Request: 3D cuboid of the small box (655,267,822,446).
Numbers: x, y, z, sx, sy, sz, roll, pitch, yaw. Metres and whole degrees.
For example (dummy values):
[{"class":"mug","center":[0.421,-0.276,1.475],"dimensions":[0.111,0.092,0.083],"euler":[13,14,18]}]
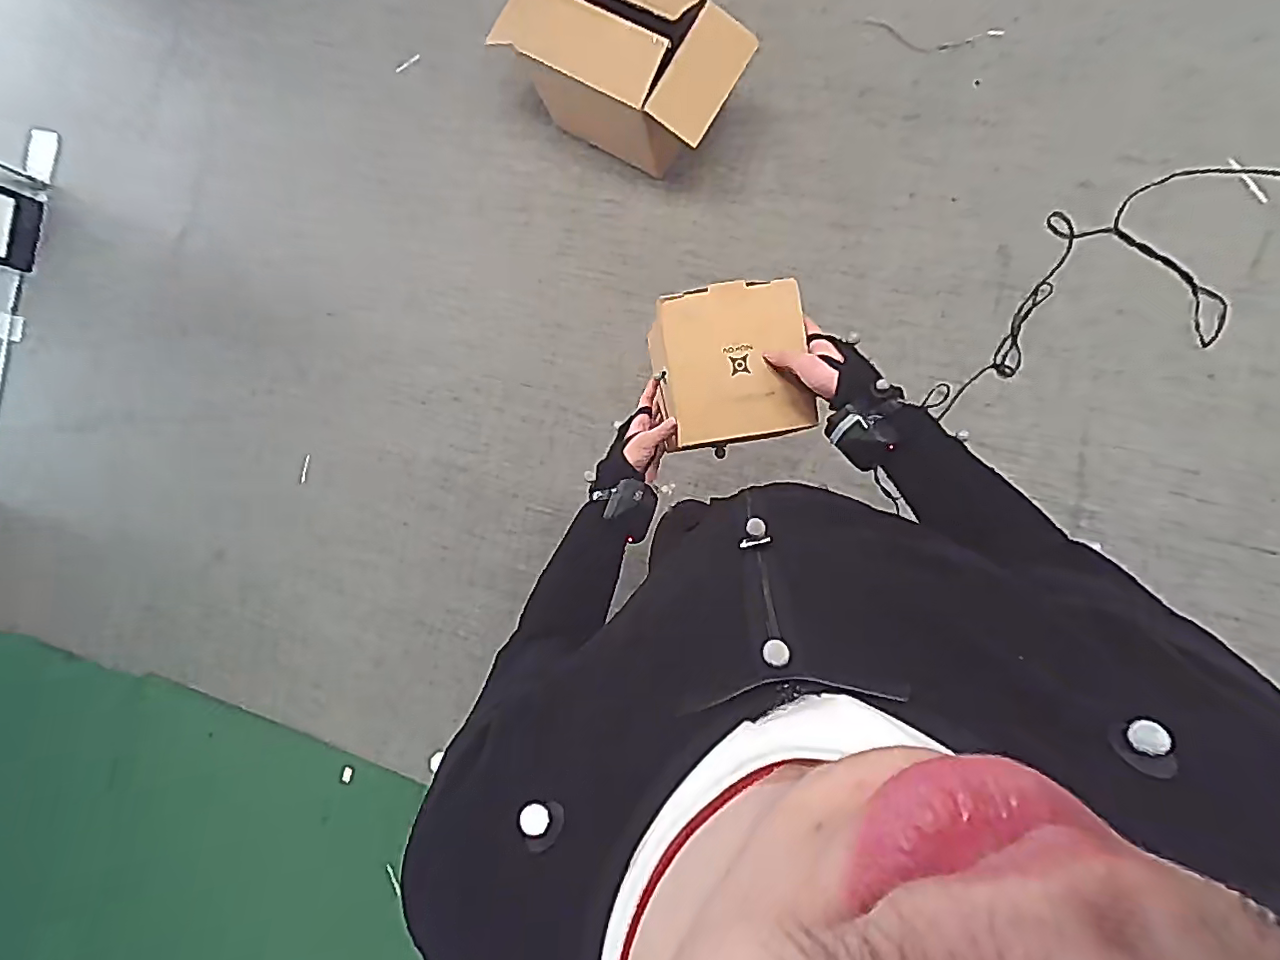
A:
[{"class":"small box","center":[0.110,-0.142,0.677],"dimensions":[0.168,0.176,0.179],"euler":[-6,89,-1]}]
